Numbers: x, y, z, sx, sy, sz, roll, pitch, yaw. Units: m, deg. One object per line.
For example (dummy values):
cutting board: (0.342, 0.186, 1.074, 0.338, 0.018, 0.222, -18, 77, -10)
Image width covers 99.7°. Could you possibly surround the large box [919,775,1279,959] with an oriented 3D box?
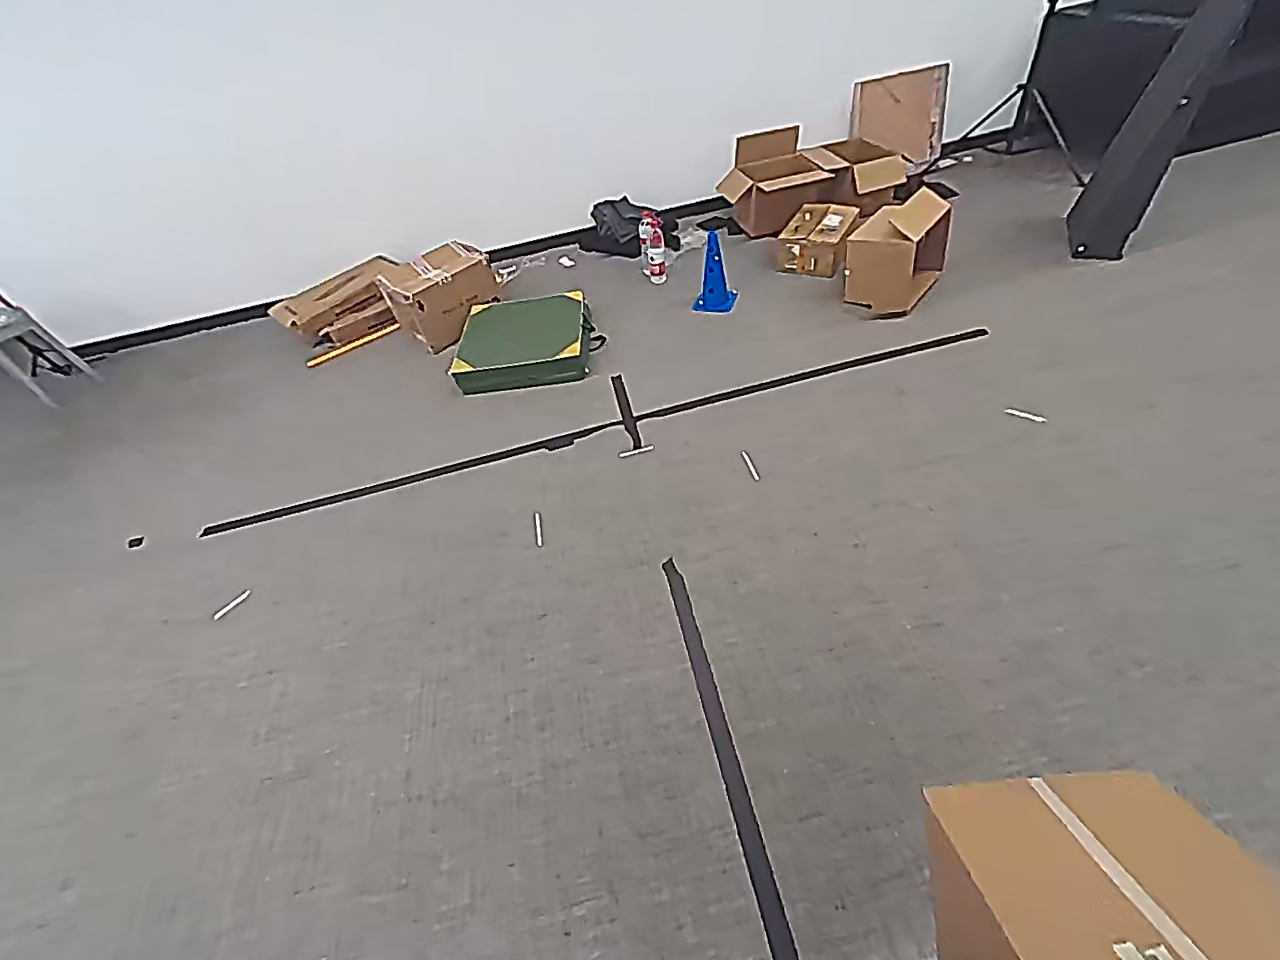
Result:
large box: (0.563, 0.614, 0.605, 0.320, 0.320, 0.408, -10, 10, 7)
